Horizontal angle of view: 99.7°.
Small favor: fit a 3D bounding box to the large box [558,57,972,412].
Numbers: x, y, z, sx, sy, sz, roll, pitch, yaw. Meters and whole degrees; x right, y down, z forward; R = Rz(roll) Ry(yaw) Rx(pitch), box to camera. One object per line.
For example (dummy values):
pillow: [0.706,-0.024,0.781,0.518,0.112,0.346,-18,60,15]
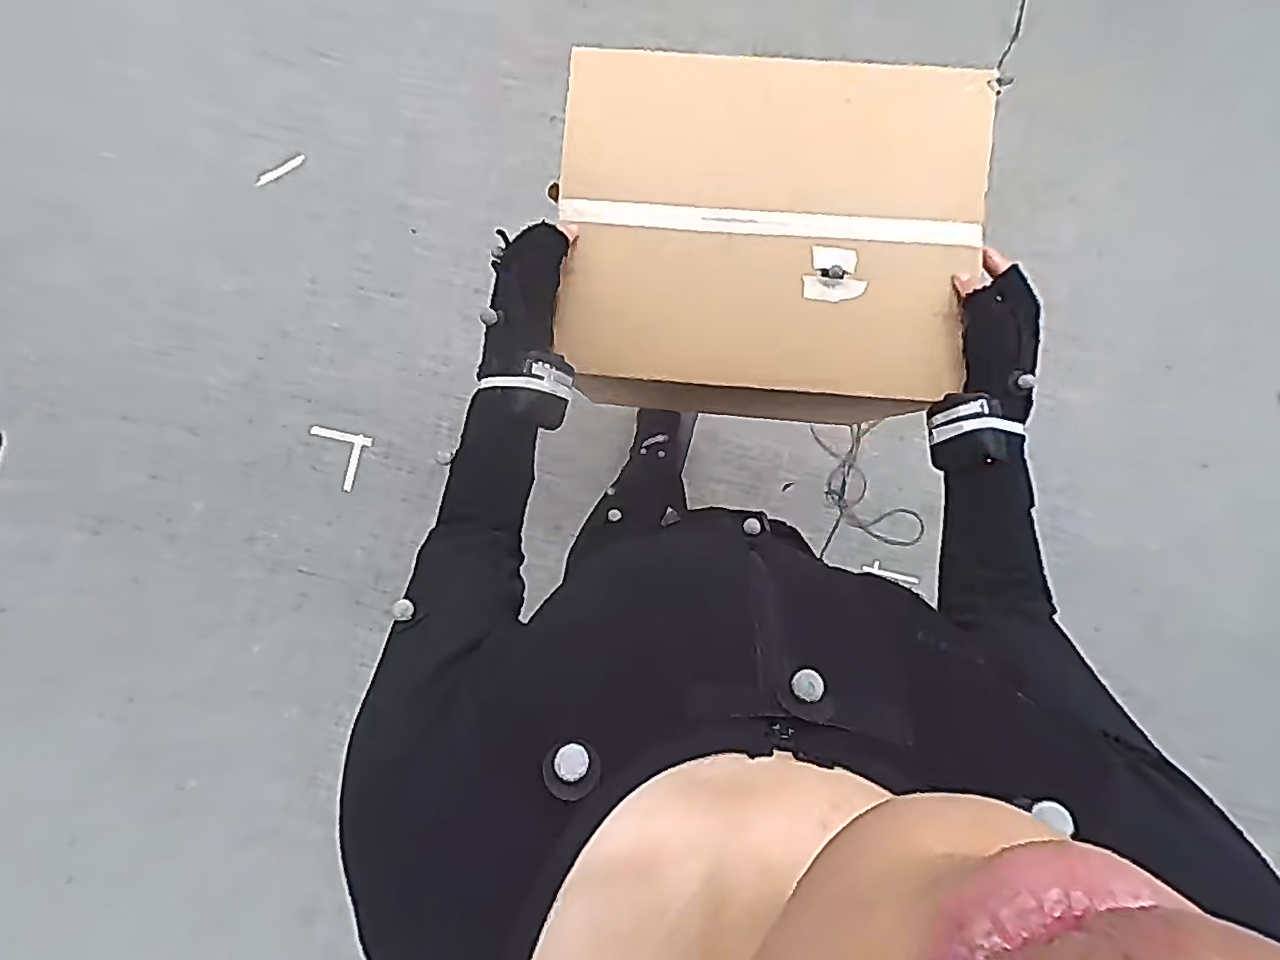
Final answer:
large box: [0.124,-0.265,0.691,0.408,0.320,0.320,5,93,2]
